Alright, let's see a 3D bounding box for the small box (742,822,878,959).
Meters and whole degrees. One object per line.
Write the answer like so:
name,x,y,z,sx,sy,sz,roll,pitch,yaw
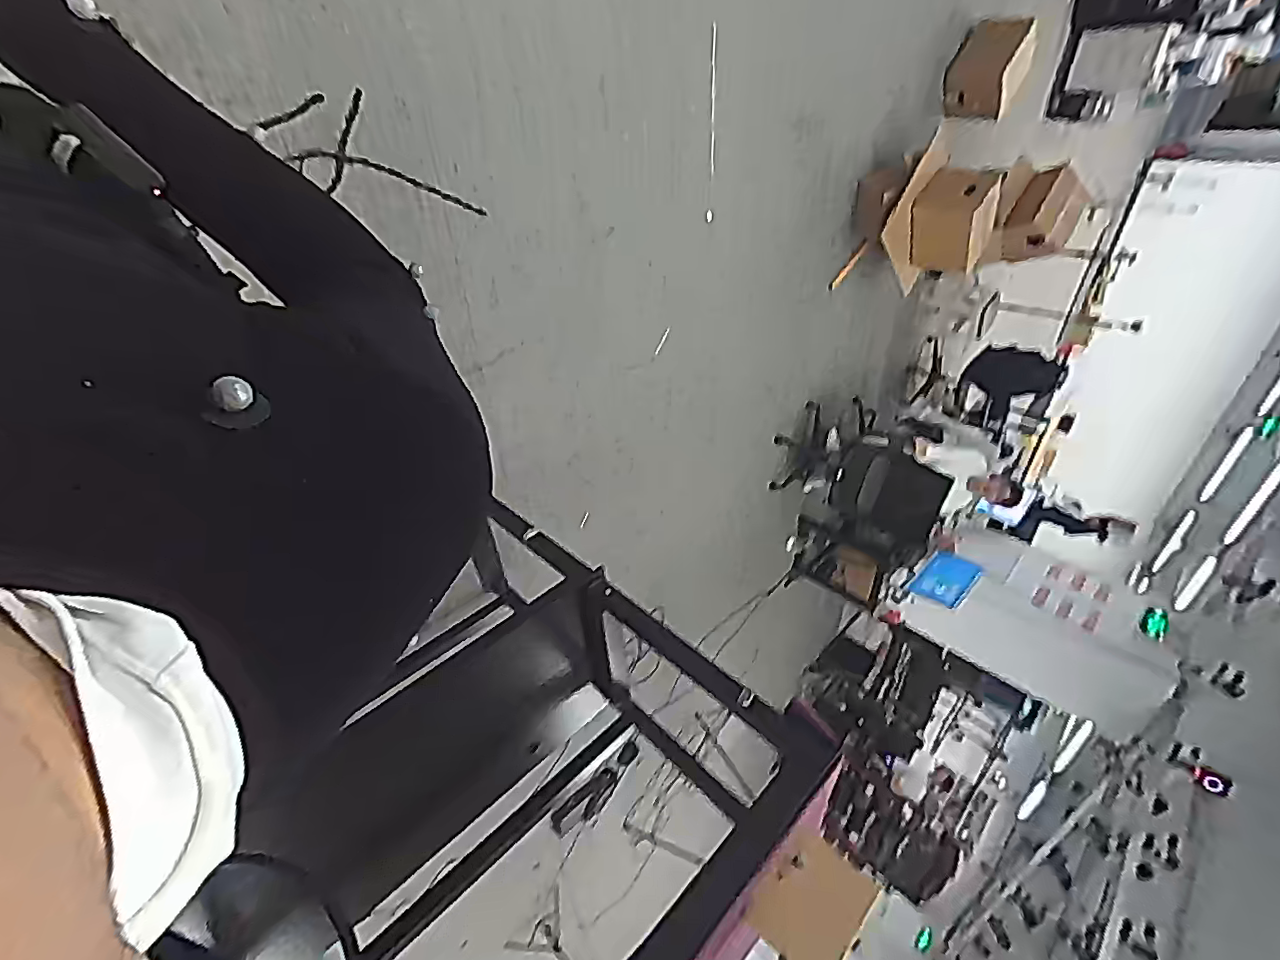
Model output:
small box,0.303,0.778,0.992,0.168,0.176,0.179,-33,136,-32
